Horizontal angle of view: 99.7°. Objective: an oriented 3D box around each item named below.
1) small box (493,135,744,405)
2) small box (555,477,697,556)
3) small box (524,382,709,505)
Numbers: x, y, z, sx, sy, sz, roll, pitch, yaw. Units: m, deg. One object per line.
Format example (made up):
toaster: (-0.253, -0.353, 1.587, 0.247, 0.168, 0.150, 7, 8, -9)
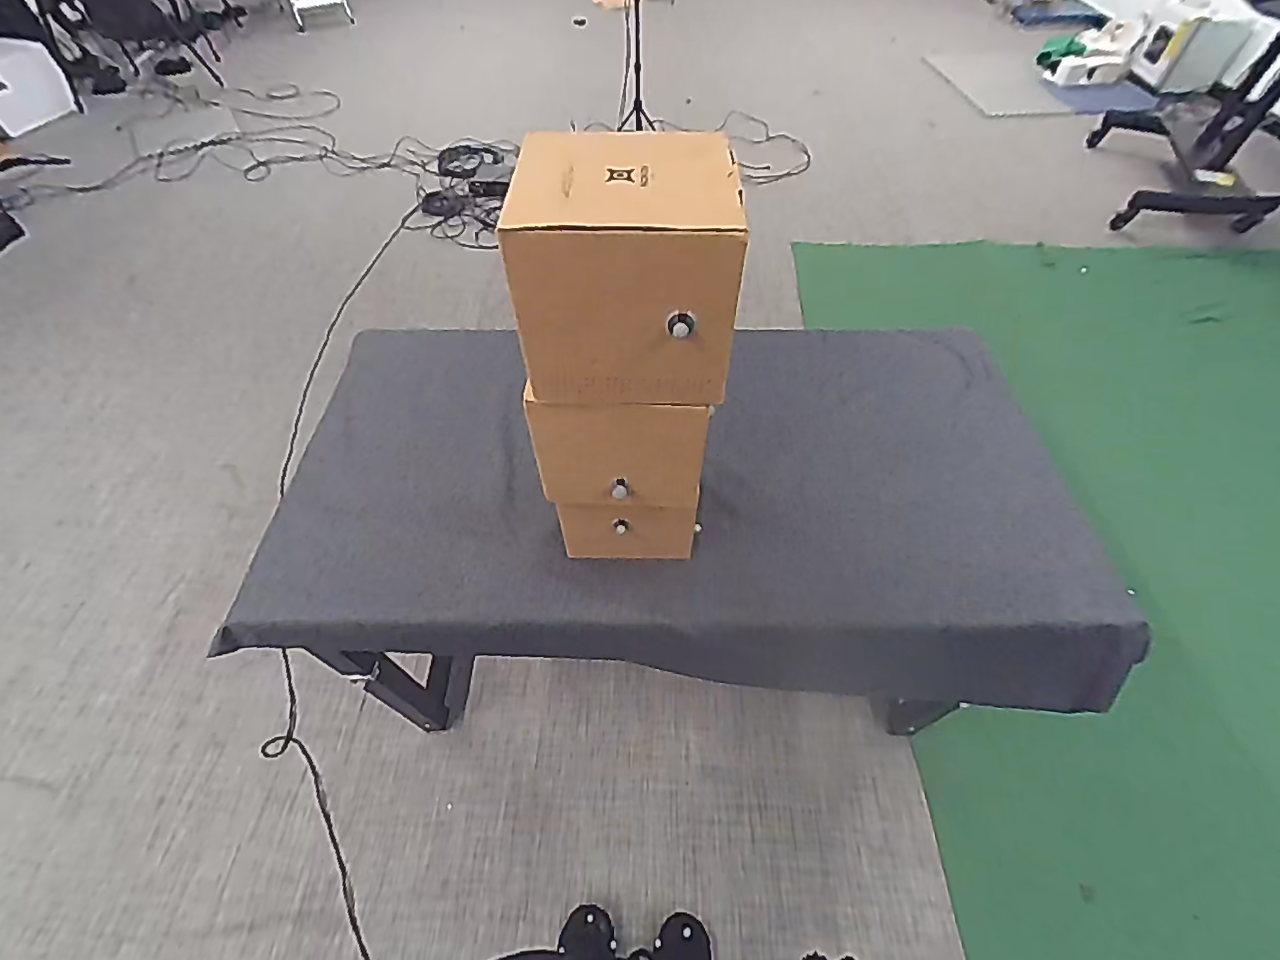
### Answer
small box: (-0.013, -0.181, 0.483, 0.179, 0.176, 0.168, -1, 52, 1)
small box: (-0.017, -0.004, 0.756, 0.179, 0.176, 0.168, 0, 53, 1)
small box: (-0.021, -0.083, 0.615, 0.179, 0.176, 0.168, -1, 55, 1)
